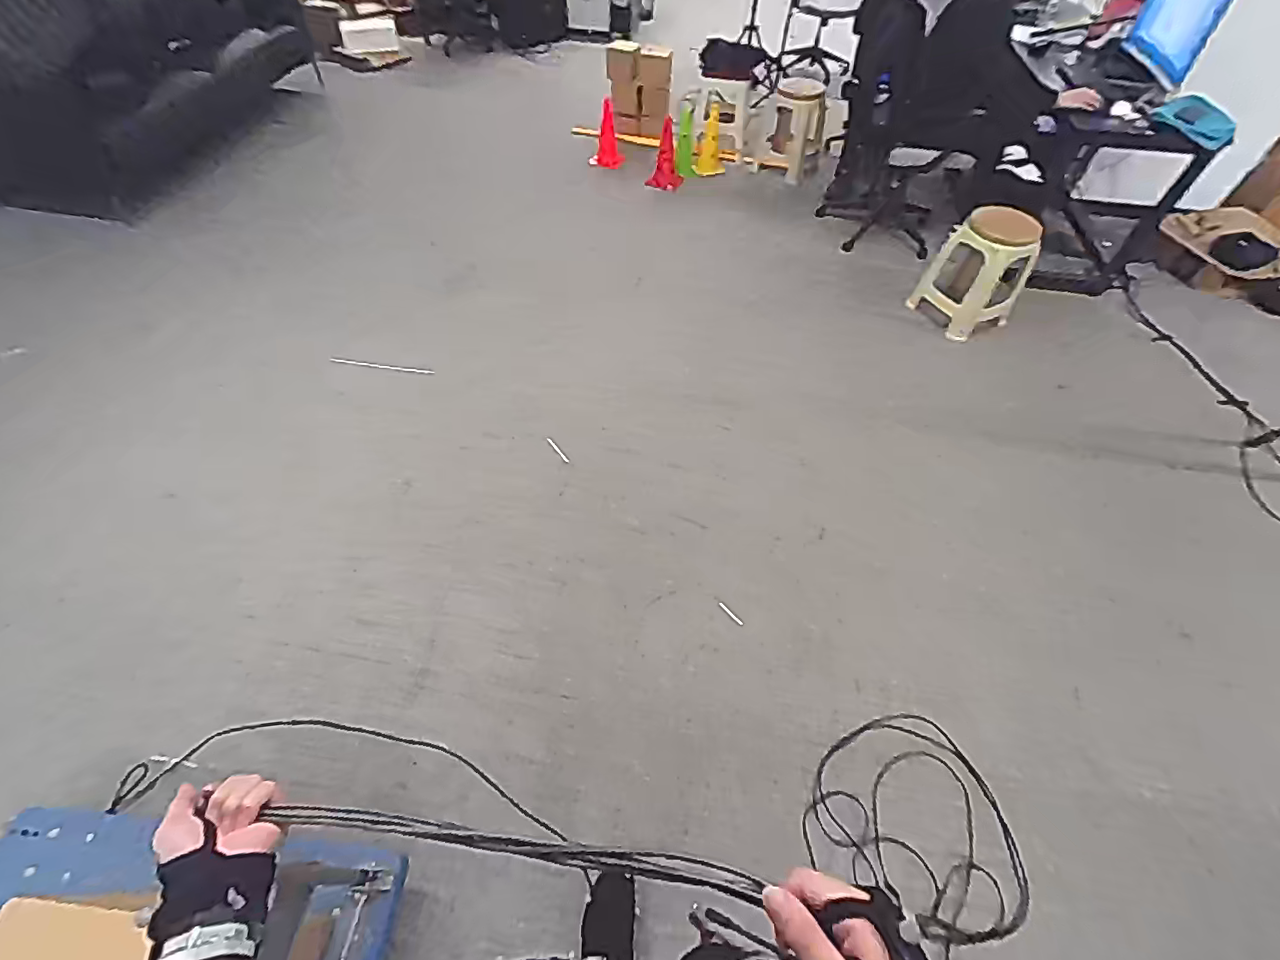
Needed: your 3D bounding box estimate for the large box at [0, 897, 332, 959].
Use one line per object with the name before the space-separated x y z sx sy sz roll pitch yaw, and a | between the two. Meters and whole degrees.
large box | -0.819 0.900 0.886 0.408 0.320 0.320 5 53 3
